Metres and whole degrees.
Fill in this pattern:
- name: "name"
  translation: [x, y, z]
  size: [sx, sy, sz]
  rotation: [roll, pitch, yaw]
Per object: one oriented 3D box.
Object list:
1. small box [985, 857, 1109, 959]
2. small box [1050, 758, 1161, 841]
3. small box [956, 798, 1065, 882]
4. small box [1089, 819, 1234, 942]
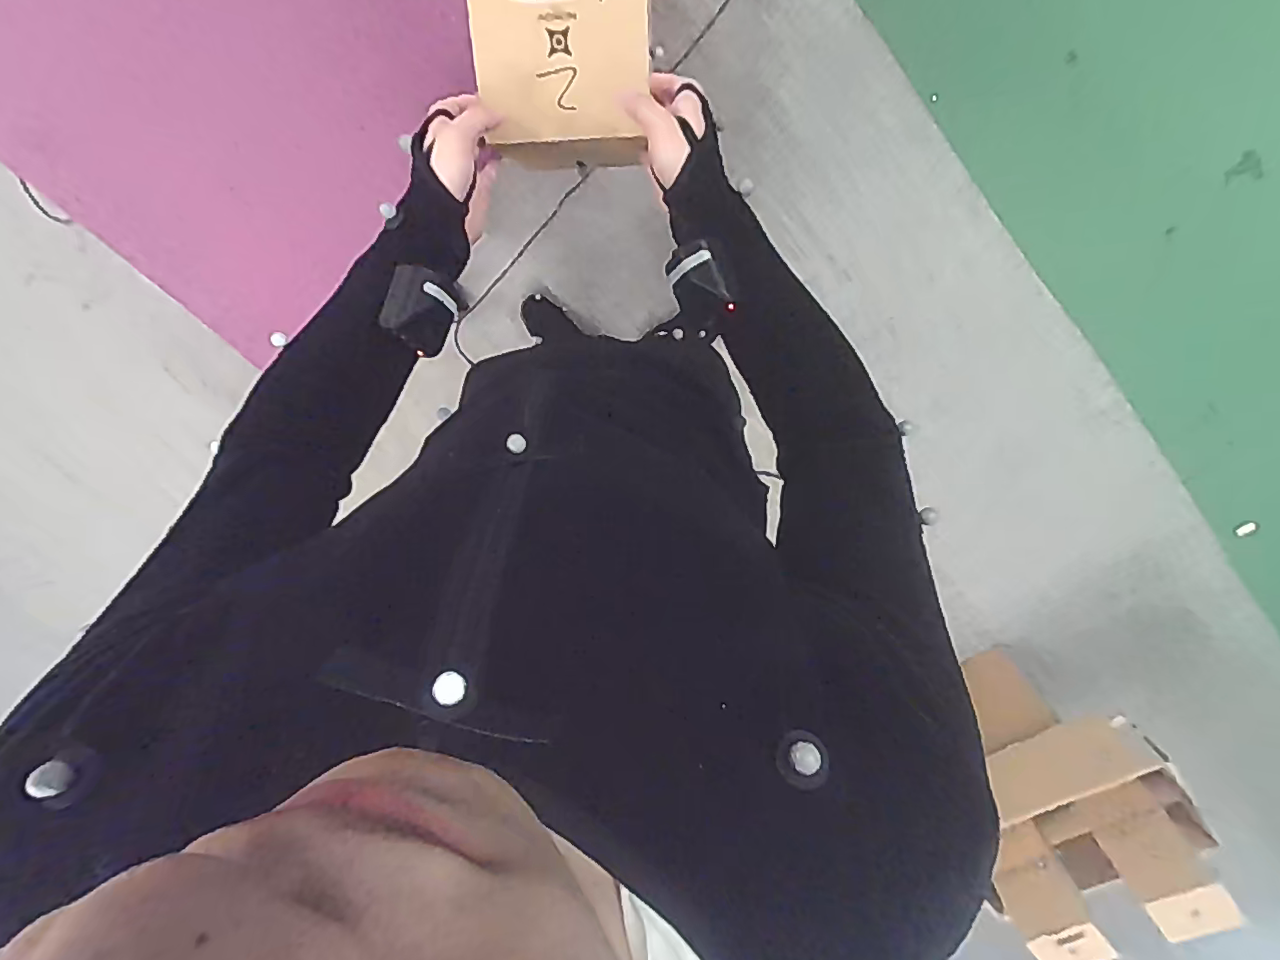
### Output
- name: "small box"
  translation: [1.036, 1.113, 1.393]
  size: [0.168, 0.176, 0.179]
  rotation: [-36, 107, 18]
- name: "small box"
  translation: [1.265, 0.894, 1.457]
  size: [0.168, 0.176, 0.179]
  rotation: [-34, 108, 16]
- name: "small box"
  translation: [1.047, 1.045, 1.542]
  size: [0.168, 0.176, 0.179]
  rotation: [-36, 107, 17]
- name: "small box"
  translation: [1.246, 0.956, 1.306]
  size: [0.168, 0.176, 0.179]
  rotation: [-34, 107, 18]
